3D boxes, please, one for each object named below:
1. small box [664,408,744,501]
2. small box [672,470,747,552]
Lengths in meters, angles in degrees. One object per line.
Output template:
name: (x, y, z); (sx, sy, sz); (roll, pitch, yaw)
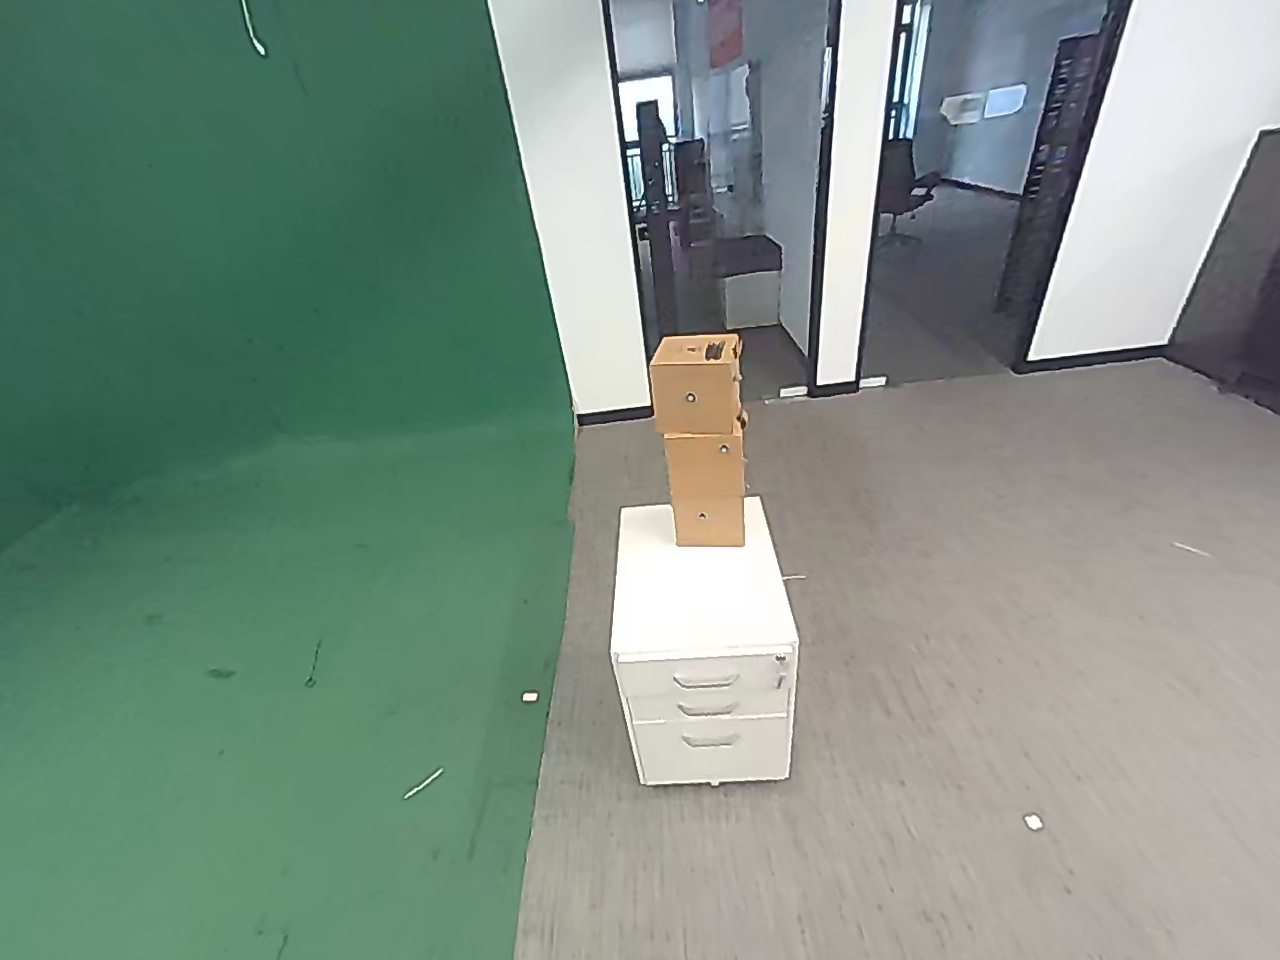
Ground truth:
small box: (0.161, -0.060, 1.307); (0.179, 0.176, 0.168); (-1, 34, 10)
small box: (0.184, 0.072, 1.399); (0.179, 0.176, 0.168); (-1, 35, 11)
